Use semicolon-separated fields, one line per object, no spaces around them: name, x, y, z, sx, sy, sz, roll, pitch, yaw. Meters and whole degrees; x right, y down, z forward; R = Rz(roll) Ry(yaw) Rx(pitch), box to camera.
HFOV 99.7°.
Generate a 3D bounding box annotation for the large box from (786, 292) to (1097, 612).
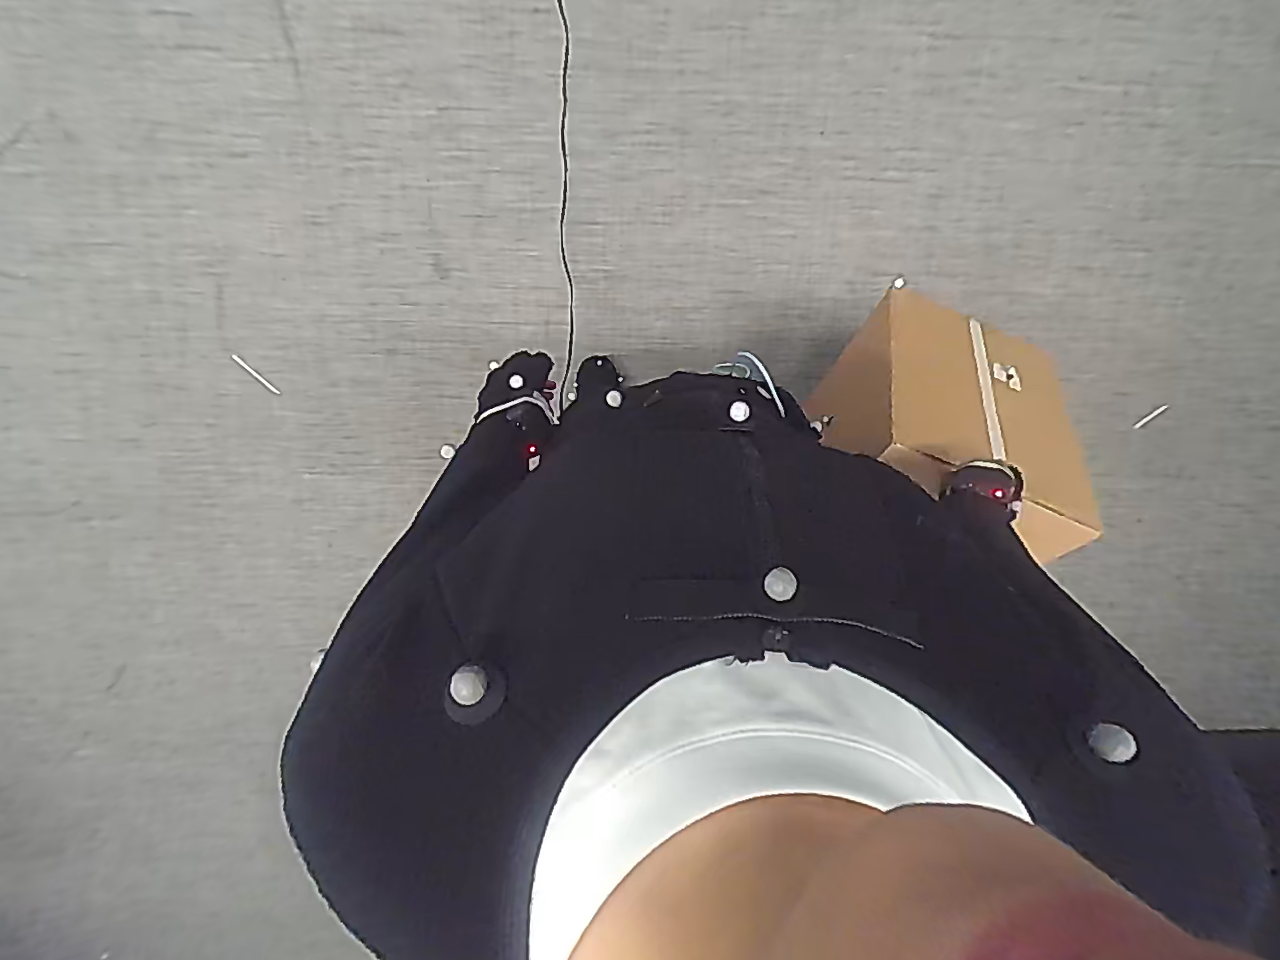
large box;0.479;-0.046;0.948;0.320;0.408;0.320;24;141;-3
